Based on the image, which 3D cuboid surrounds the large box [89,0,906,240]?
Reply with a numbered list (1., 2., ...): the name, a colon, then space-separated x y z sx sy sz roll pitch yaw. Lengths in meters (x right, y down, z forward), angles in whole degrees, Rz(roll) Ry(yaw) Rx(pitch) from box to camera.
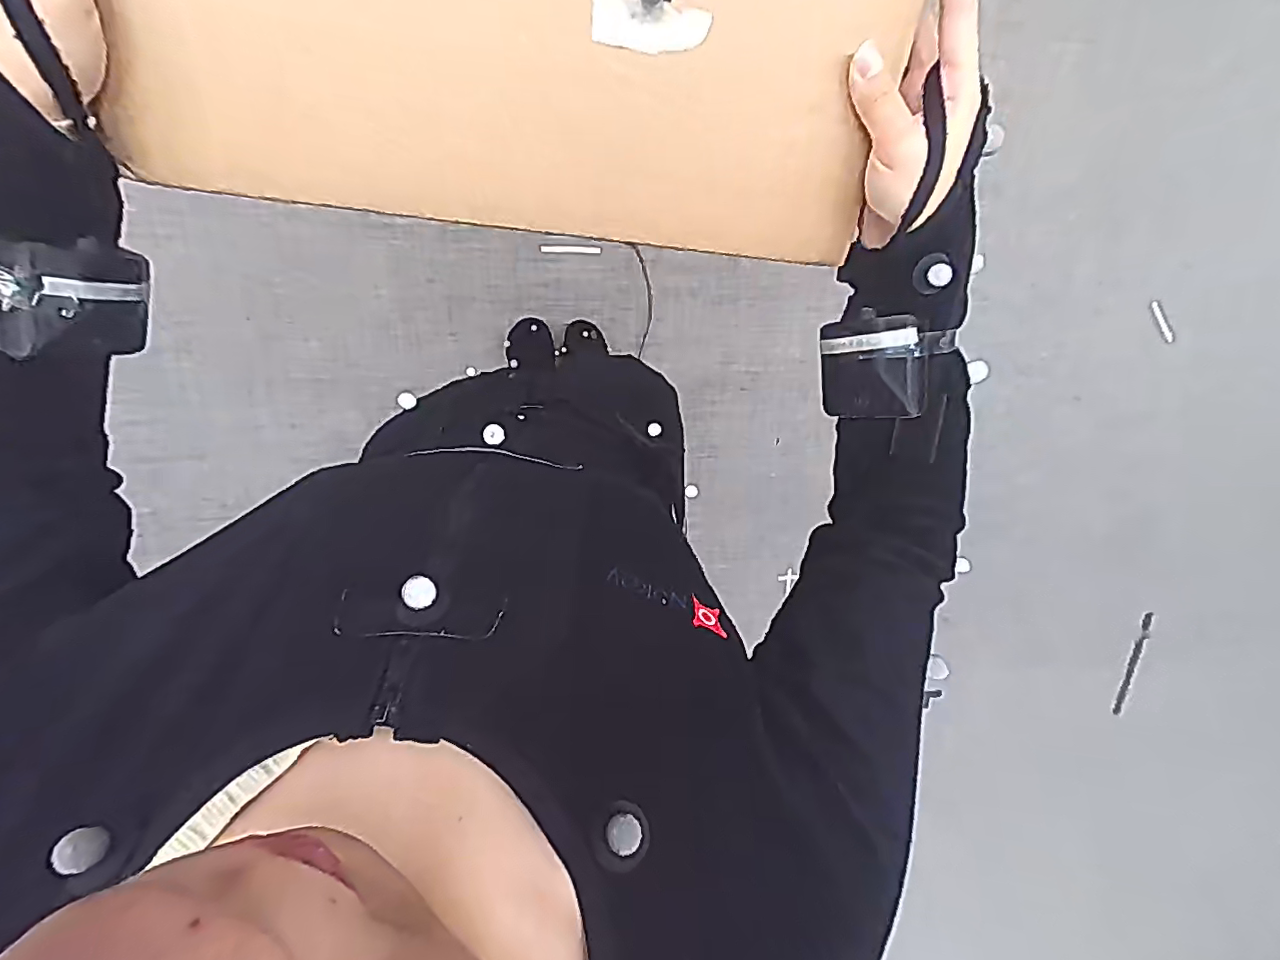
1. large box: -0.068 -0.366 0.363 0.408 0.320 0.320 3 122 -8
